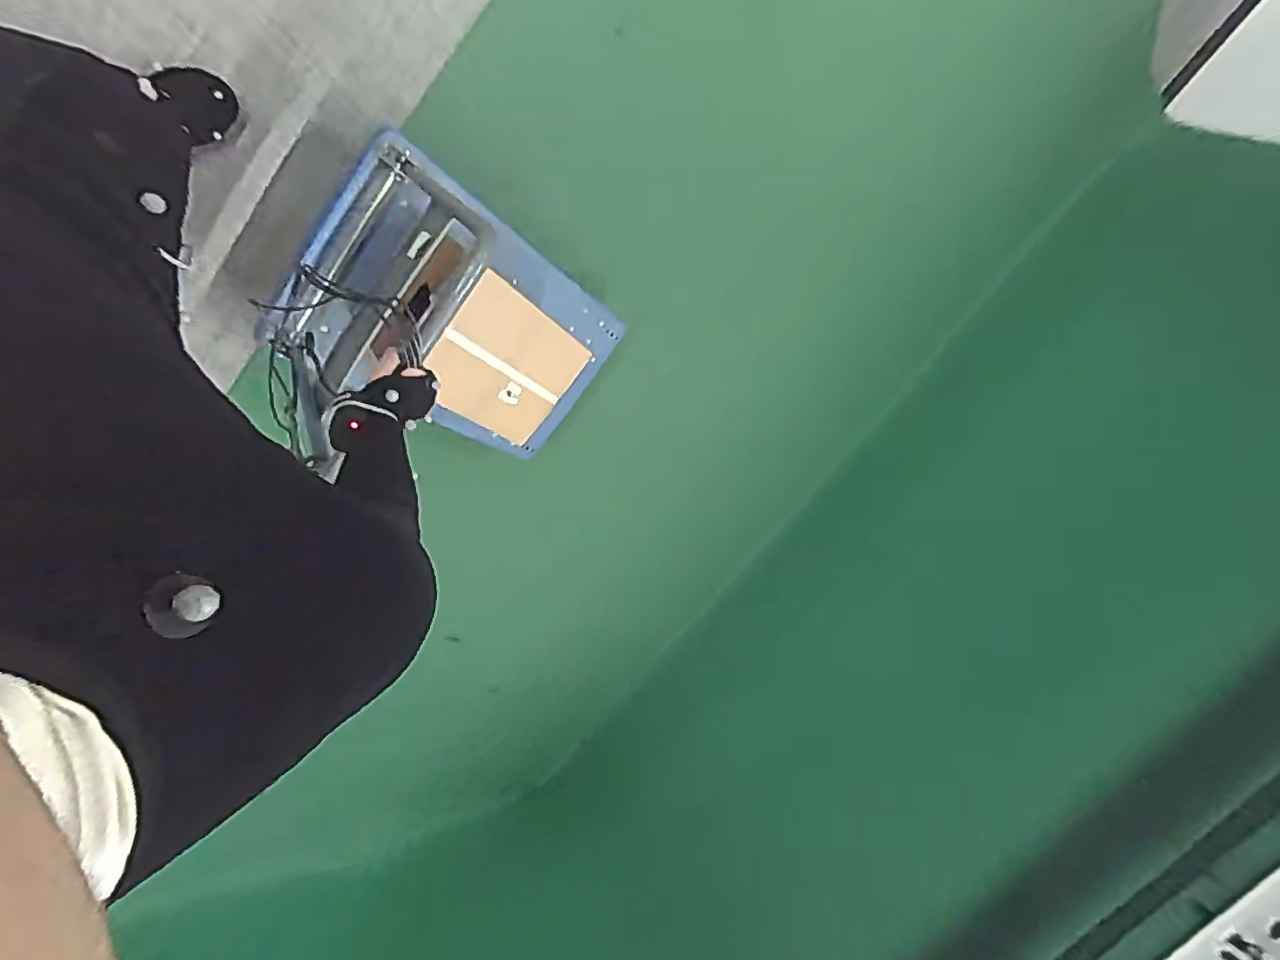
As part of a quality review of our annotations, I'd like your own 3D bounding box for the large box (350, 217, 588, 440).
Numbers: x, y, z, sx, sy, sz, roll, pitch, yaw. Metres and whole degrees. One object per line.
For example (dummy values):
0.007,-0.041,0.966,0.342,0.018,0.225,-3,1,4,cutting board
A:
-0.418,-0.362,1.343,0.320,0.320,0.408,-49,144,8,large box
